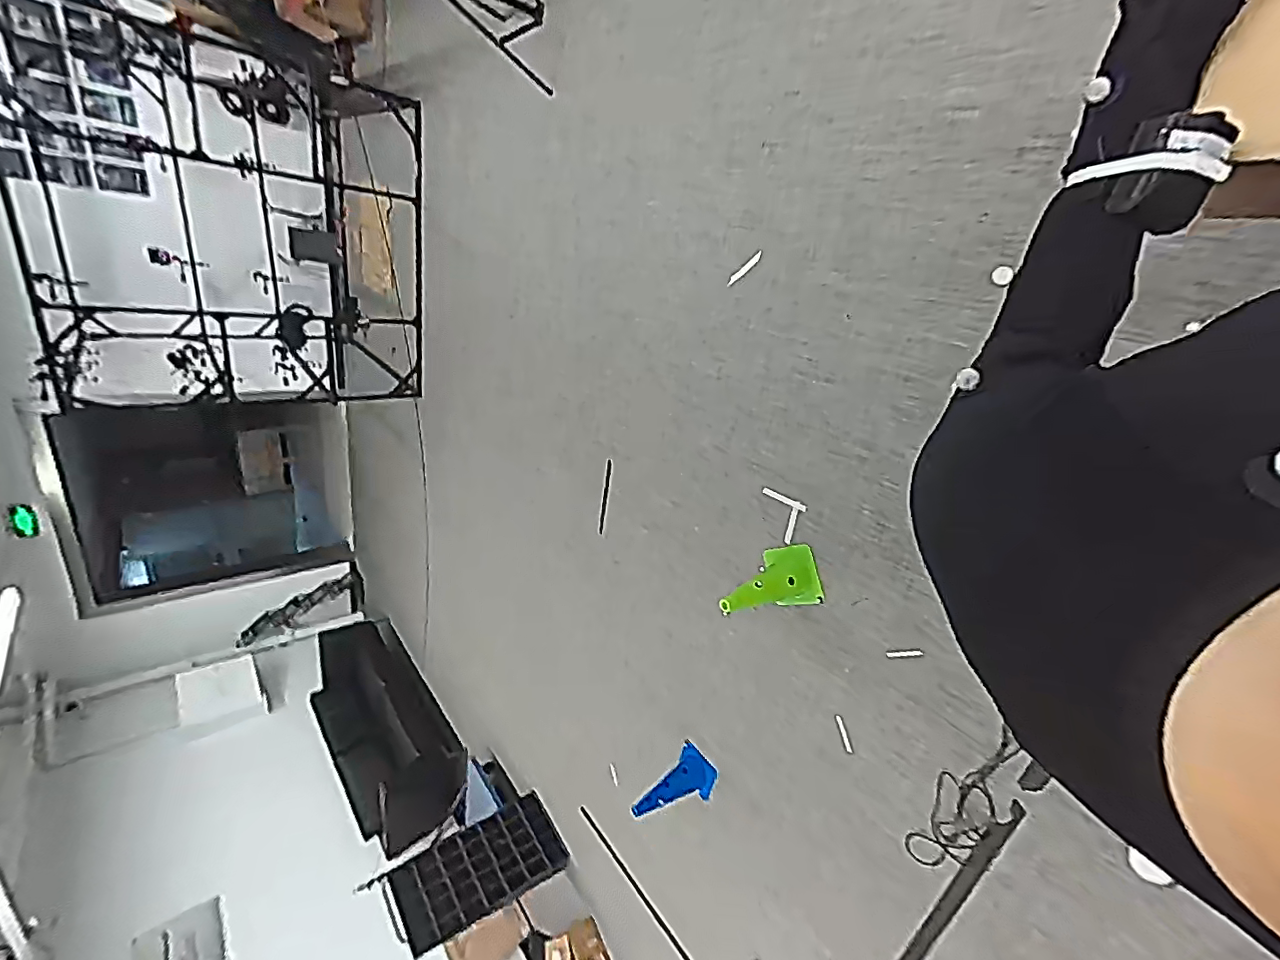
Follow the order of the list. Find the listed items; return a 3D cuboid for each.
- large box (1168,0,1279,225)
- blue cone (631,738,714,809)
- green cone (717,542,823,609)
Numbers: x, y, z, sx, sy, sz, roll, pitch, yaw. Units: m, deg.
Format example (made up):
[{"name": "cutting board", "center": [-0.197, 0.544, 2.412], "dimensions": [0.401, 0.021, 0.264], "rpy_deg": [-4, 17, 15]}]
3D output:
[{"name": "large box", "center": [0.636, -0.338, 0.309], "dimensions": [0.408, 0.320, 0.320], "rpy_deg": [25, 119, 42]}, {"name": "blue cone", "center": [0.124, 1.290, 2.292], "dimensions": [0.192, 0.380, 0.193], "rpy_deg": [37, 125, 41]}, {"name": "green cone", "center": [0.387, 0.341, 1.735], "dimensions": [0.202, 0.368, 0.200], "rpy_deg": [-22, 81, 52]}]
